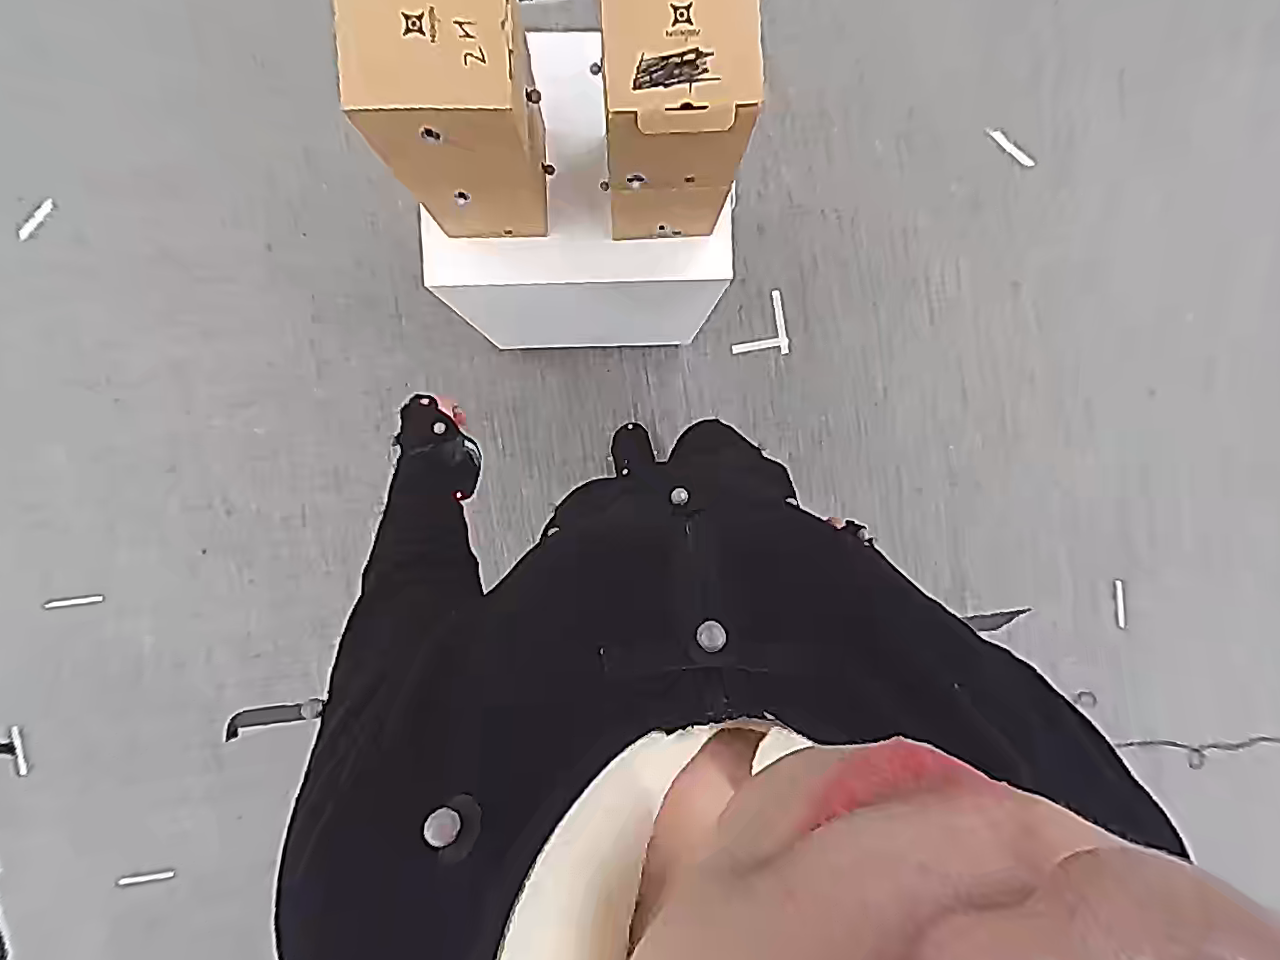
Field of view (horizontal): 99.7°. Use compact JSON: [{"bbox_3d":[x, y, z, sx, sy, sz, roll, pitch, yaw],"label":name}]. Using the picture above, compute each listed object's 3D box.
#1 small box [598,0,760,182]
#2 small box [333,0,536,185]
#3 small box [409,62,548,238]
[{"bbox_3d":[0.039,-0.472,0.634,0.168,0.176,0.179,-4,93,-2],"label":"small box"},{"bbox_3d":[-0.222,-0.462,0.624,0.179,0.176,0.168,-2,94,-2],"label":"small box"},{"bbox_3d":[-0.228,-0.476,0.788,0.168,0.176,0.179,-1,92,-2],"label":"small box"}]
